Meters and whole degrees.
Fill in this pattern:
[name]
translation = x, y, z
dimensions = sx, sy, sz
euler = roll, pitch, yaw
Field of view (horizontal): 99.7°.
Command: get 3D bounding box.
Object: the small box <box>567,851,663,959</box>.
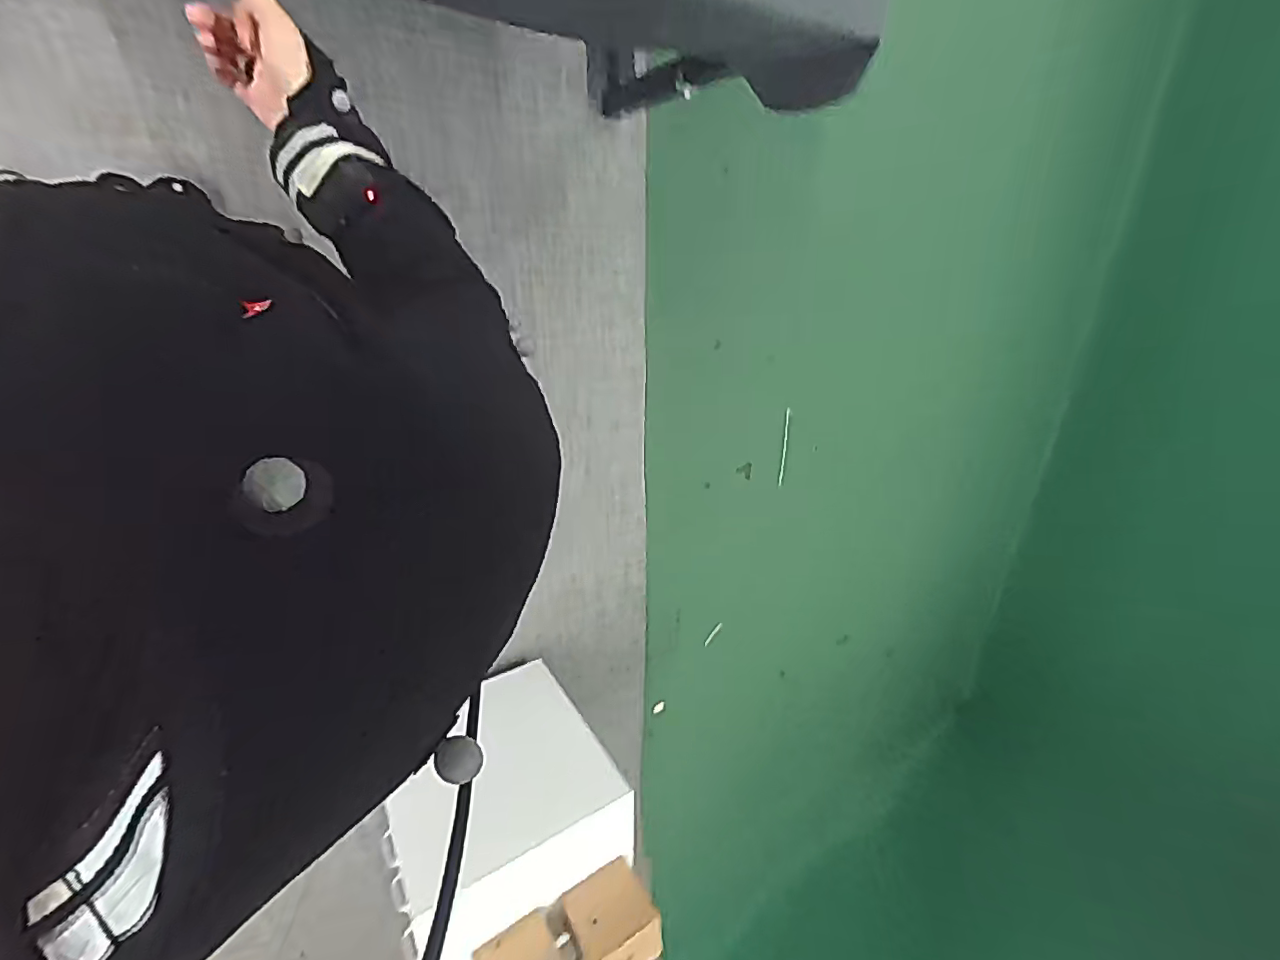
[small box]
translation = -0.064, 1.045, 1.286
dimensions = 0.179, 0.176, 0.168
euler = -18, 120, -29
